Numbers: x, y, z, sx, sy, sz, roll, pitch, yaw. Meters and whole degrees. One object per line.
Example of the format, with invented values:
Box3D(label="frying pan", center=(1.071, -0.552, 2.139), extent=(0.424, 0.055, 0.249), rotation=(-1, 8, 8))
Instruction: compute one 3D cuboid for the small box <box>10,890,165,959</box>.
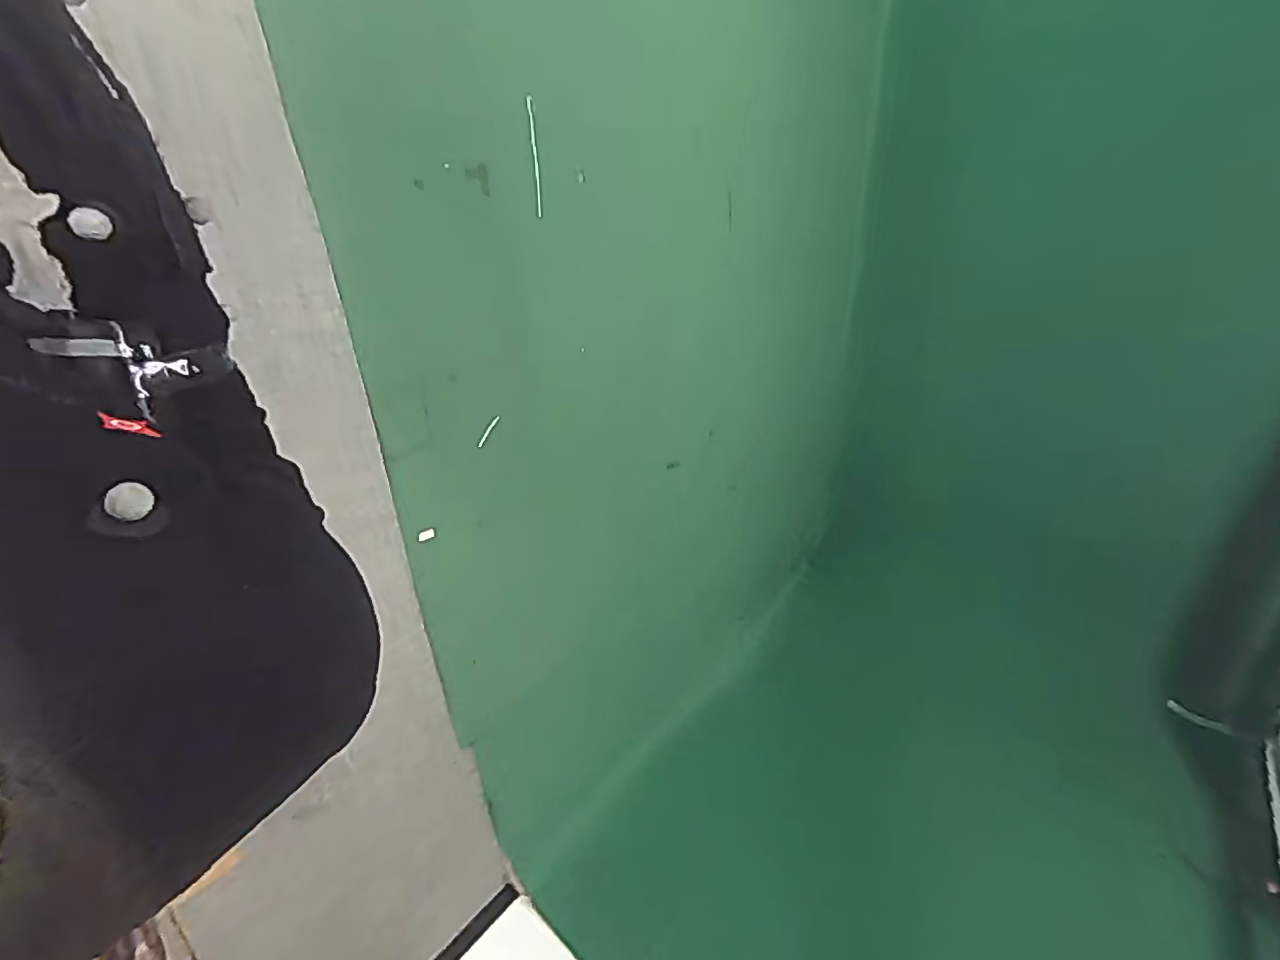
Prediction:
Box3D(label="small box", center=(-0.840, 0.788, 0.812), extent=(0.179, 0.176, 0.168), rotation=(-24, 122, -43))
